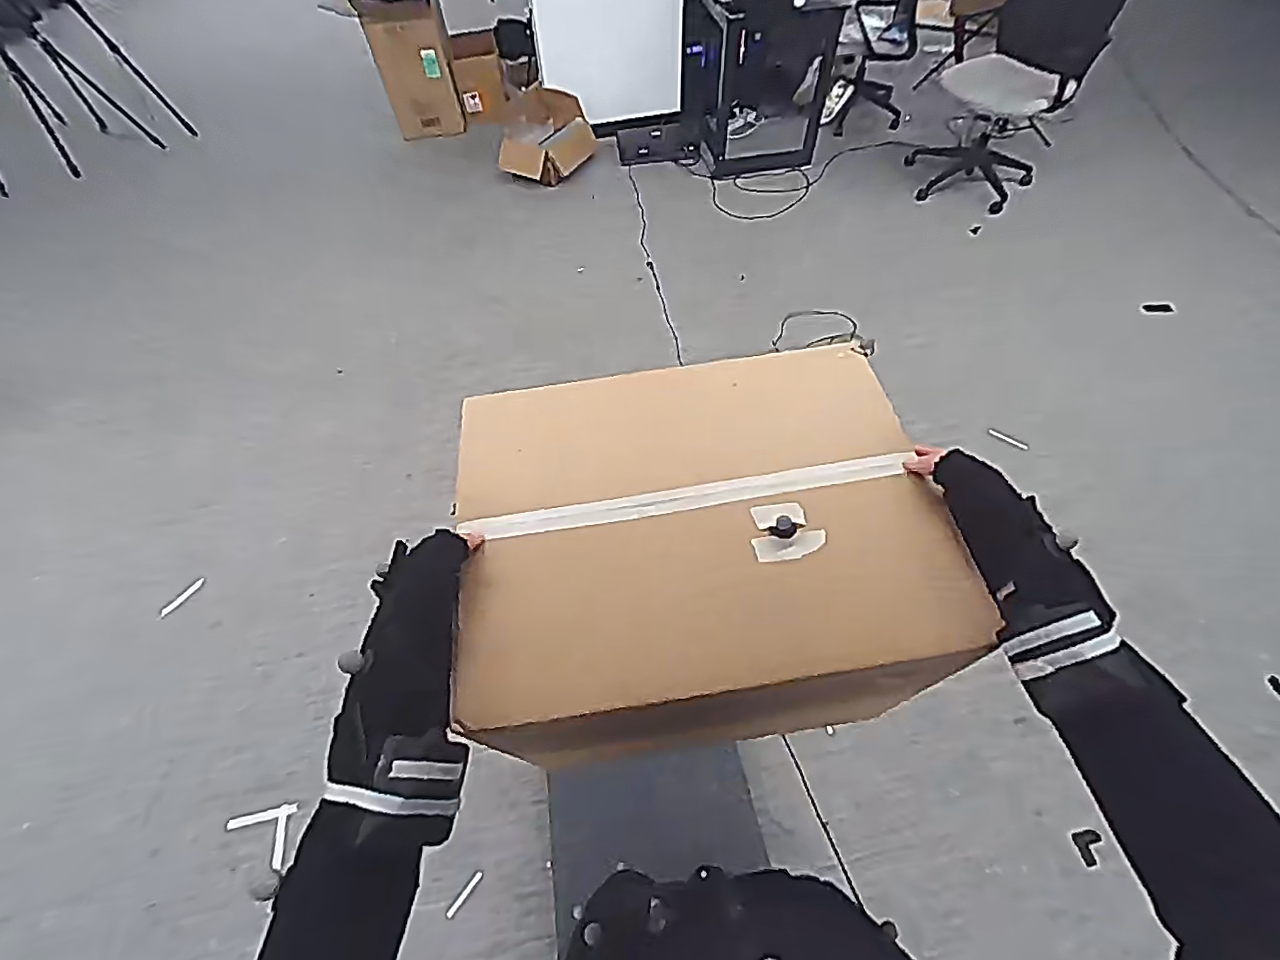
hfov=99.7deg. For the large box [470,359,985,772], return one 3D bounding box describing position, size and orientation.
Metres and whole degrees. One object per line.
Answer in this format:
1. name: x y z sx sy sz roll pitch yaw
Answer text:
1. large box: 0.054 0.109 0.606 0.408 0.320 0.320 -9 57 -2
